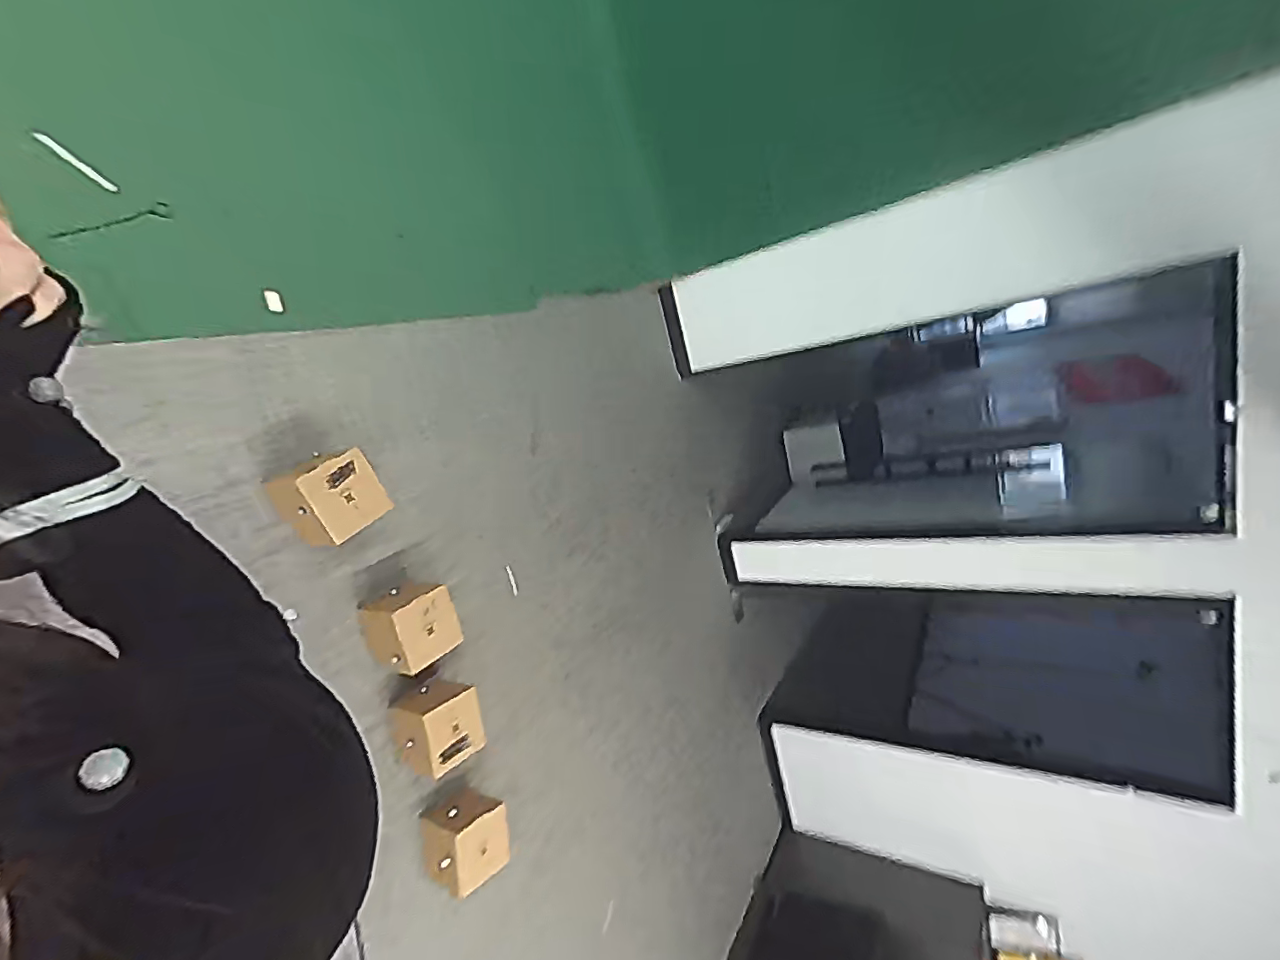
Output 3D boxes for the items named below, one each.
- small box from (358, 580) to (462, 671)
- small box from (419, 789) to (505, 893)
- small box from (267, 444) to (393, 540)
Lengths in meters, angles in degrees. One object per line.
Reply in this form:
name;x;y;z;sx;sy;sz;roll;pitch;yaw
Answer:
small box;-0.614;0.380;1.442;0.168;0.176;0.179;-29;110;-53
small box;-0.505;1.005;1.528;0.168;0.176;0.179;-3;89;-54
small box;-0.745;0.033;1.298;0.168;0.176;0.179;-46;123;-47
